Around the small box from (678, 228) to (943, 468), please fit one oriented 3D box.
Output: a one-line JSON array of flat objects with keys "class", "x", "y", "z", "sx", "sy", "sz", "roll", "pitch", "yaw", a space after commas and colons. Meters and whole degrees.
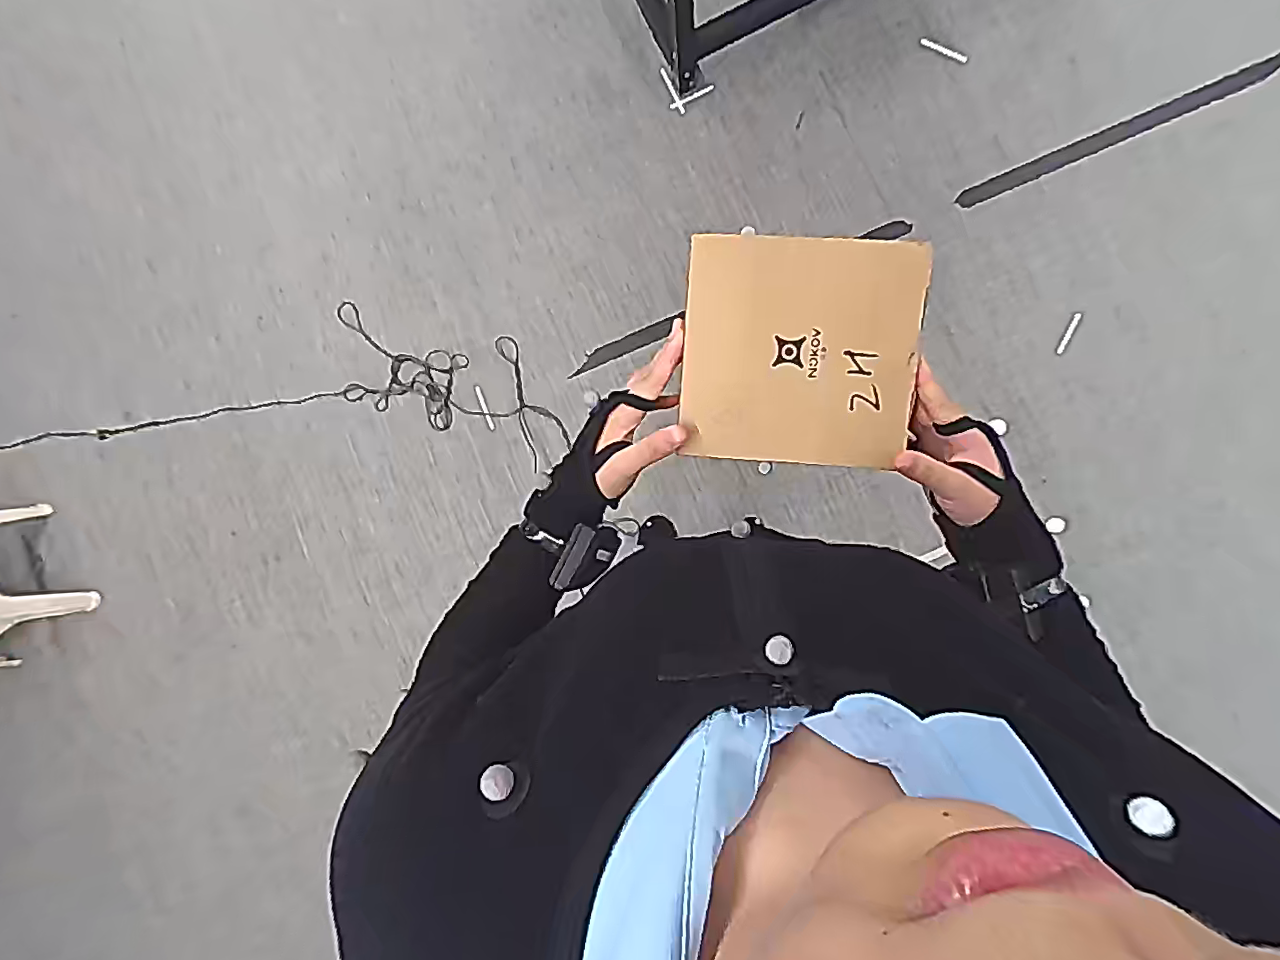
[{"class": "small box", "x": 0.128, "y": -0.109, "z": 0.478, "sx": 0.179, "sy": 0.176, "sz": 0.168, "roll": 5, "pitch": 100, "yaw": 4}]
